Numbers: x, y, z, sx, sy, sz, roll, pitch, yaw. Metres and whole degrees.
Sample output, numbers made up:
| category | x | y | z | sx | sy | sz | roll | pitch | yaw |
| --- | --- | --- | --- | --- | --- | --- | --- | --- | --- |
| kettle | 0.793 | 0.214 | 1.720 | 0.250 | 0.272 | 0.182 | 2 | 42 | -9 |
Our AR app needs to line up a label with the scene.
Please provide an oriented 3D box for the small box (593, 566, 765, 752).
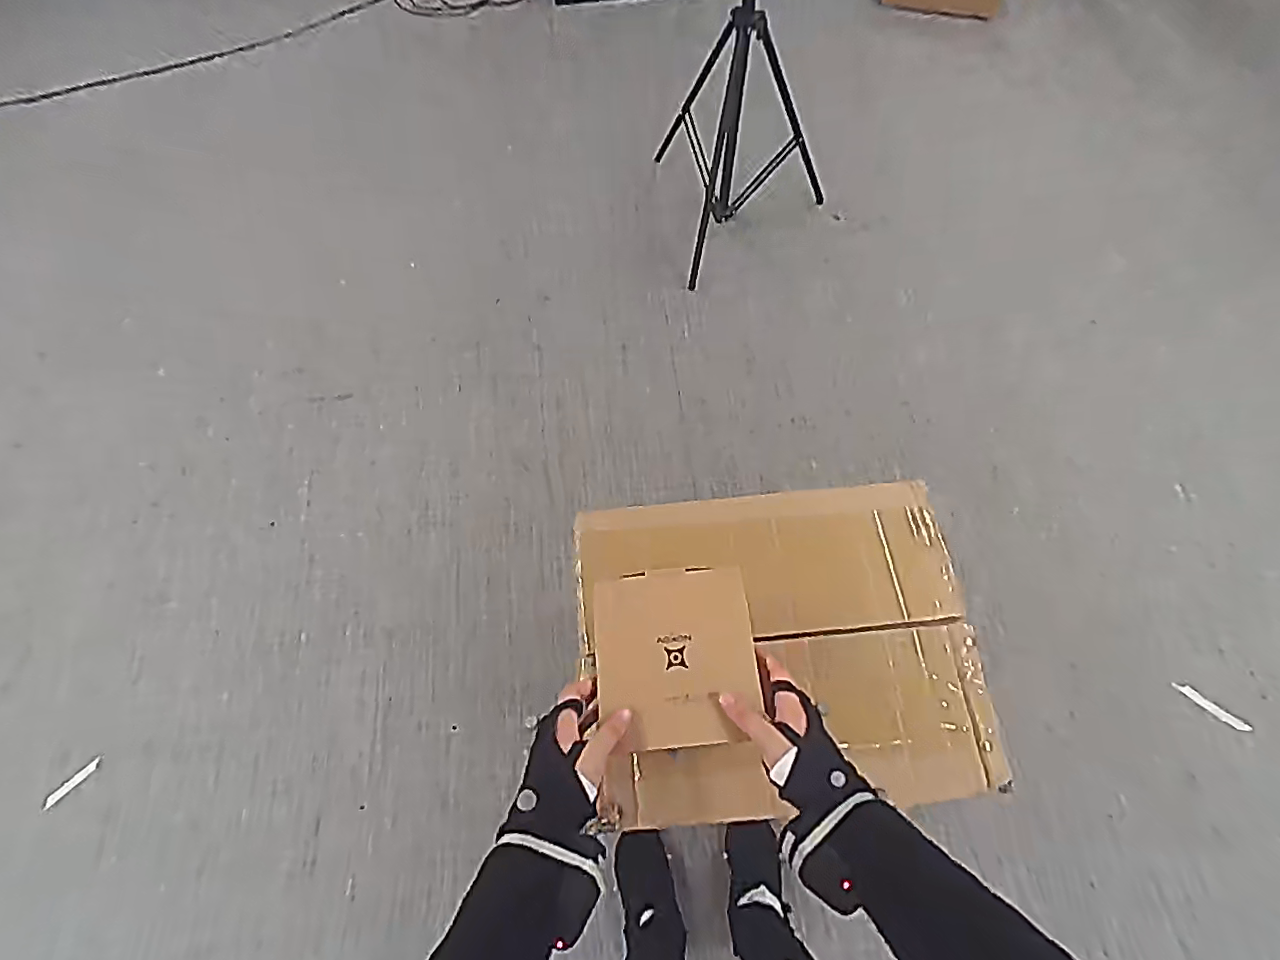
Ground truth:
| category | x | y | z | sx | sy | sz | roll | pitch | yaw |
| --- | --- | --- | --- | --- | --- | --- | --- | --- | --- |
| small box | 0.037 | 0.212 | 0.637 | 0.168 | 0.176 | 0.179 | -6 | 68 | 0 |
